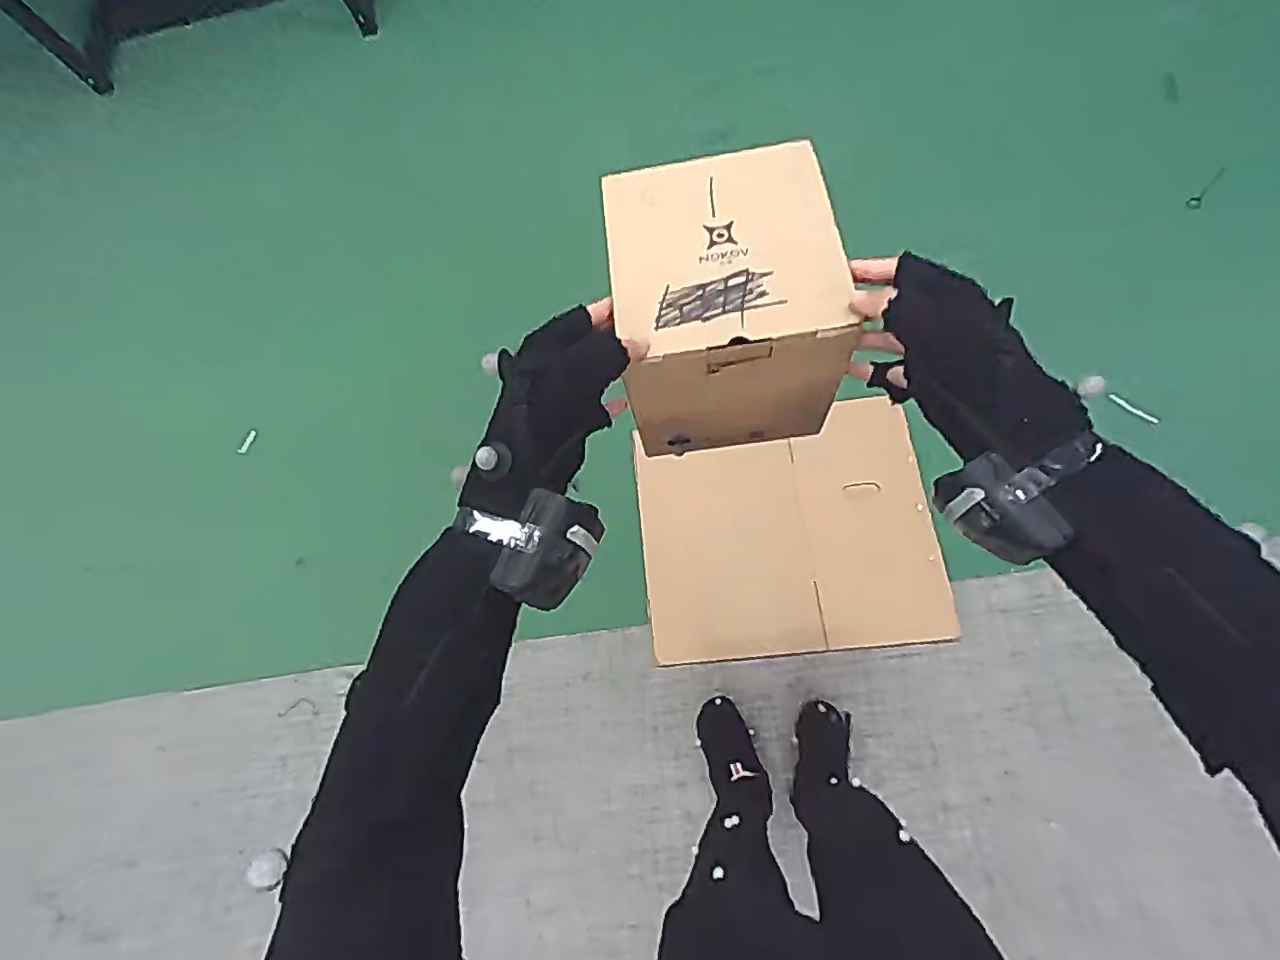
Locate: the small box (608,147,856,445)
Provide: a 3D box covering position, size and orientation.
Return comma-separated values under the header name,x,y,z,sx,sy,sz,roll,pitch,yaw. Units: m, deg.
name,x,y,z,sx,sy,sz,roll,pitch,yaw
small box,0.071,-0.142,0.473,0.168,0.176,0.179,-8,68,5
